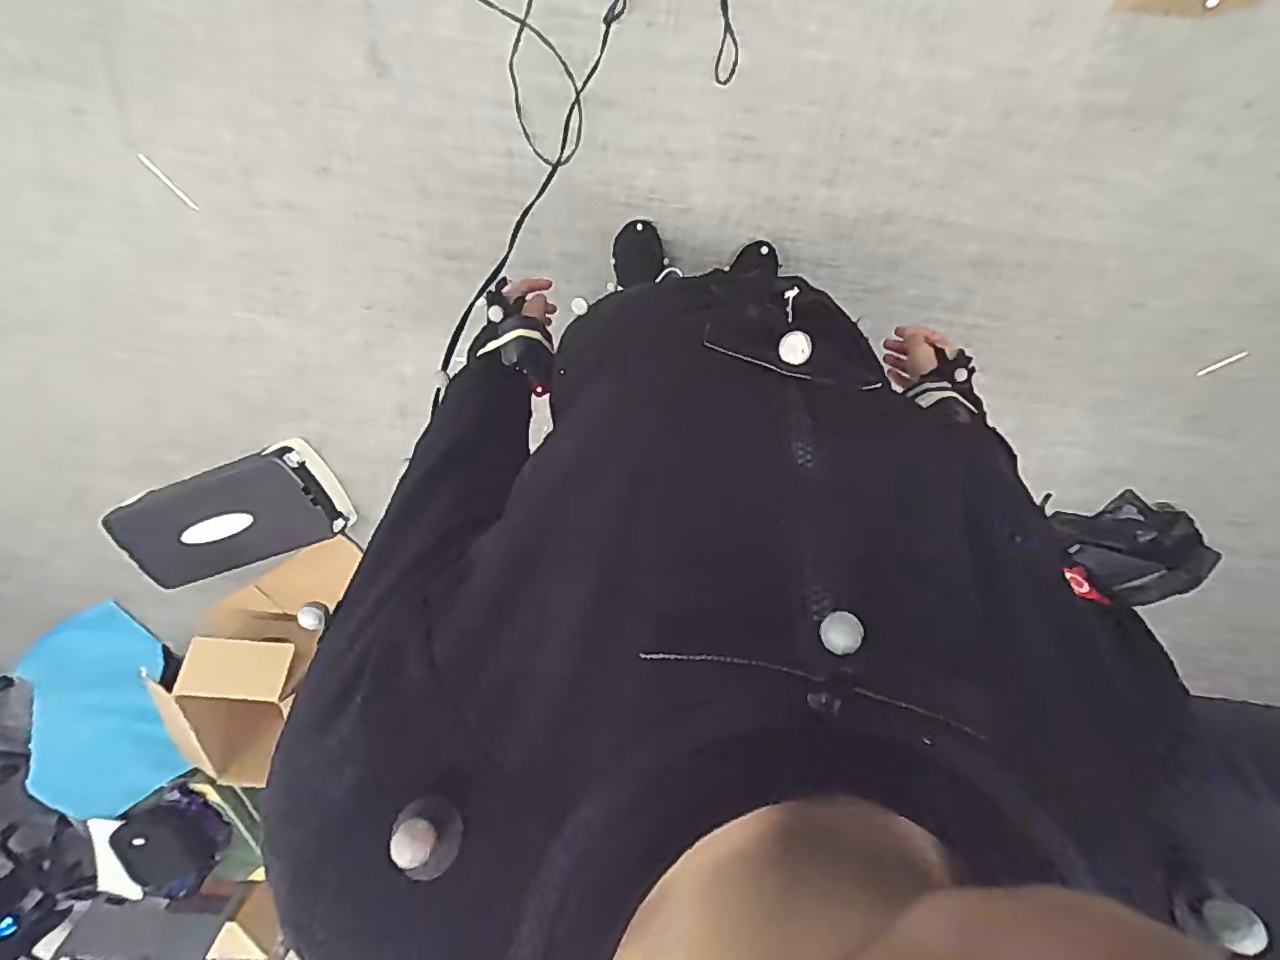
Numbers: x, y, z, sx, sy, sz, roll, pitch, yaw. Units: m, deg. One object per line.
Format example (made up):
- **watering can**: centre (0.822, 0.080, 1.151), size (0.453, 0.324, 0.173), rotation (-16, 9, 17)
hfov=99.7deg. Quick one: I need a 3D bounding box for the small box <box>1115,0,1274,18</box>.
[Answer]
- **small box**: centre (0.939, -0.869, 0.865), size (0.179, 0.176, 0.168), rotation (6, 118, 1)
